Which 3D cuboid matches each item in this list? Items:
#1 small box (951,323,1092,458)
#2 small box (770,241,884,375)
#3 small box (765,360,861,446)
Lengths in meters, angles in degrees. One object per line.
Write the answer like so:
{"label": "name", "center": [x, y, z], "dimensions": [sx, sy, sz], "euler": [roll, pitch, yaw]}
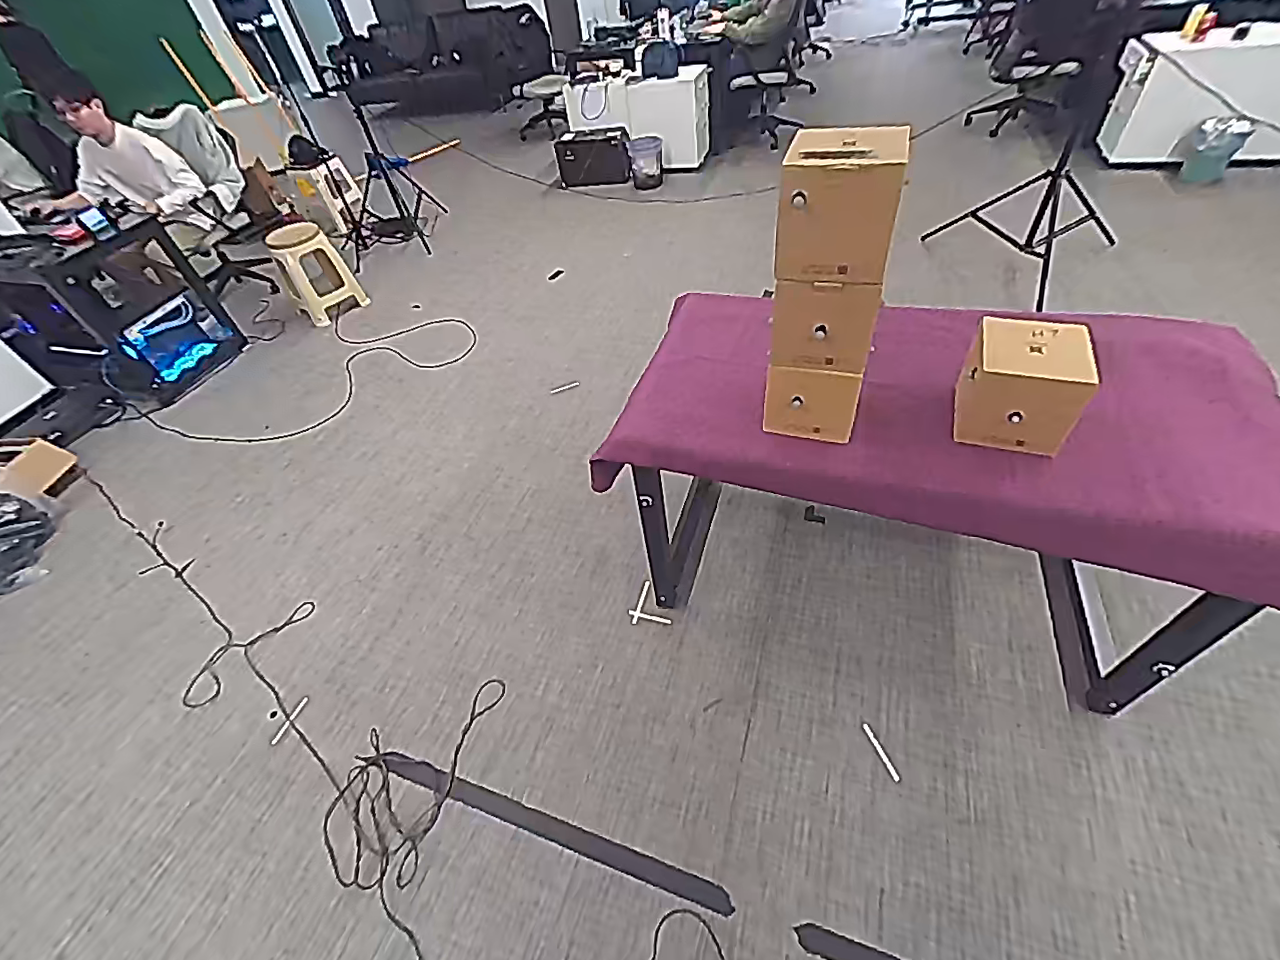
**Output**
{"label": "small box", "center": [0.694, -0.165, 1.003], "dimensions": [0.168, 0.176, 0.179], "euler": [13, 50, 19]}
{"label": "small box", "center": [0.331, -0.307, 0.969], "dimensions": [0.168, 0.176, 0.179], "euler": [9, 49, 17]}
{"label": "small box", "center": [0.349, -0.191, 1.083], "dimensions": [0.168, 0.176, 0.179], "euler": [11, 49, 18]}
